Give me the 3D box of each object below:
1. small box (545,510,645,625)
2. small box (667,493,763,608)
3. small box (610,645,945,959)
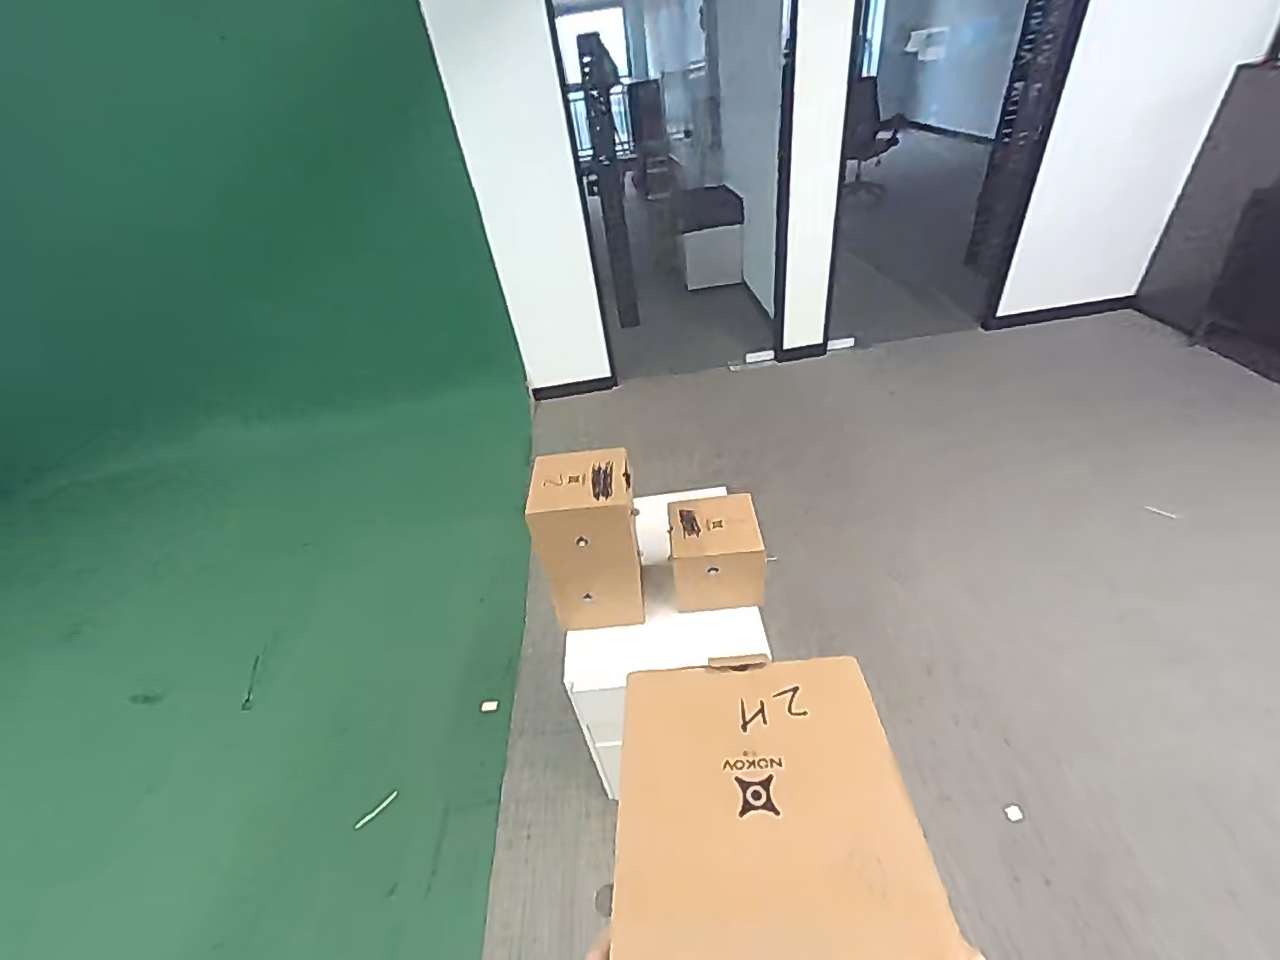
[{"bbox_3d":[-0.087,0.185,1.122,0.179,0.176,0.168,-6,40,2],"label":"small box"},{"bbox_3d":[0.155,0.149,1.122,0.179,0.176,0.168,-6,39,4],"label":"small box"},{"bbox_3d":[0.080,0.242,0.373,0.168,0.176,0.179,-5,31,6],"label":"small box"}]
